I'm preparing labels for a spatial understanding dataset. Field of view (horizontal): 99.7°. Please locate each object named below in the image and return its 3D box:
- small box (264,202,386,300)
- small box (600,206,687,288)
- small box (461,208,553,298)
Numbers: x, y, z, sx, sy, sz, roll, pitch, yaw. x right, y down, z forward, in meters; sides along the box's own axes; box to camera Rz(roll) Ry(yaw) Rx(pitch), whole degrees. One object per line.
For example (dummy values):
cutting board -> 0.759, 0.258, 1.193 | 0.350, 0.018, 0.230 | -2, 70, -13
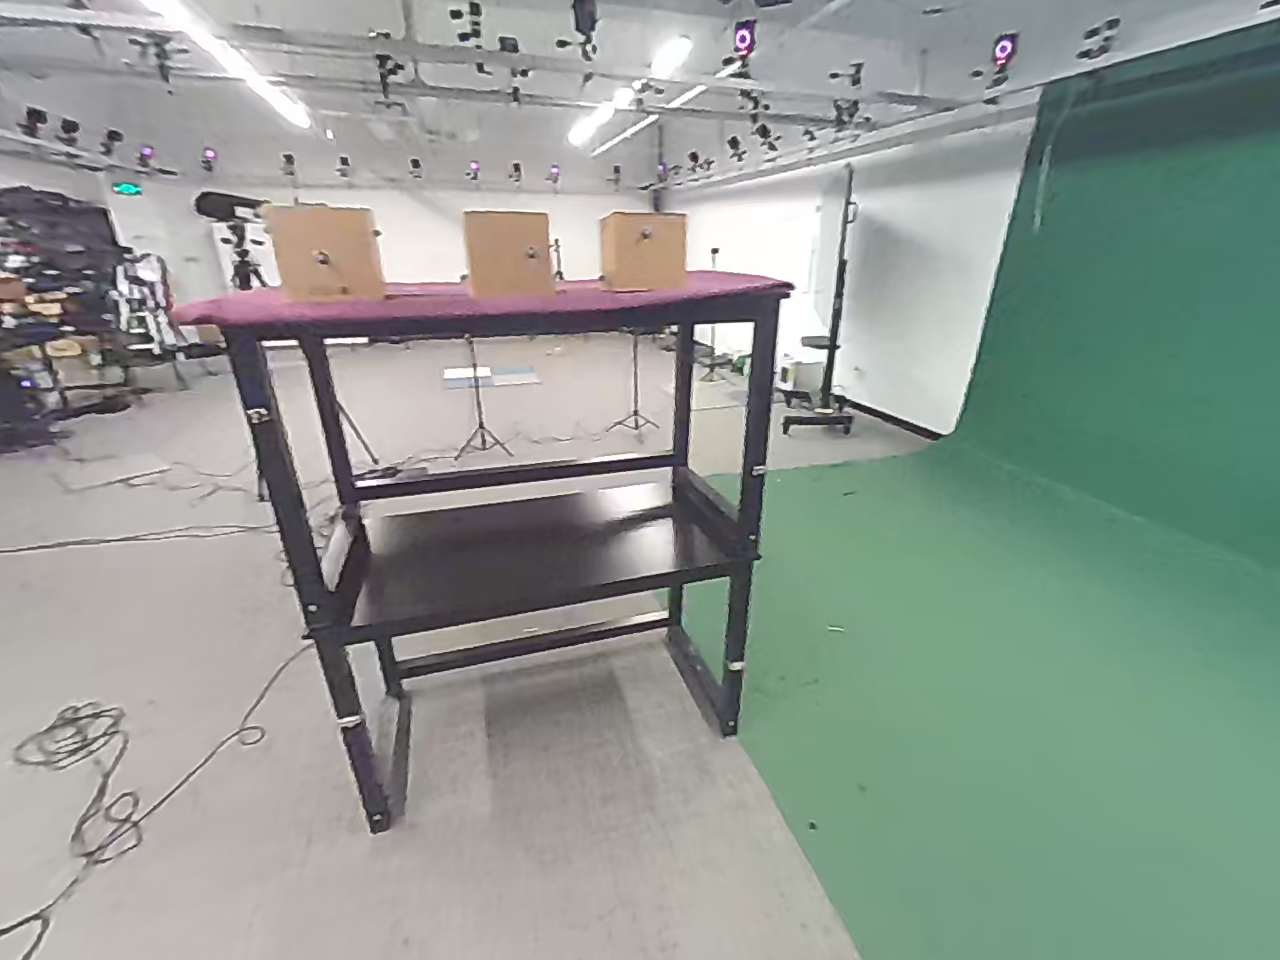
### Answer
small box -> -0.607, -0.450, 1.067 | 0.168, 0.176, 0.179 | -7, 25, -18
small box -> 0.007, -0.555, 1.302 | 0.179, 0.176, 0.168 | -7, 22, -14
small box -> -0.292, -0.501, 1.192 | 0.179, 0.176, 0.168 | -9, 25, -17
